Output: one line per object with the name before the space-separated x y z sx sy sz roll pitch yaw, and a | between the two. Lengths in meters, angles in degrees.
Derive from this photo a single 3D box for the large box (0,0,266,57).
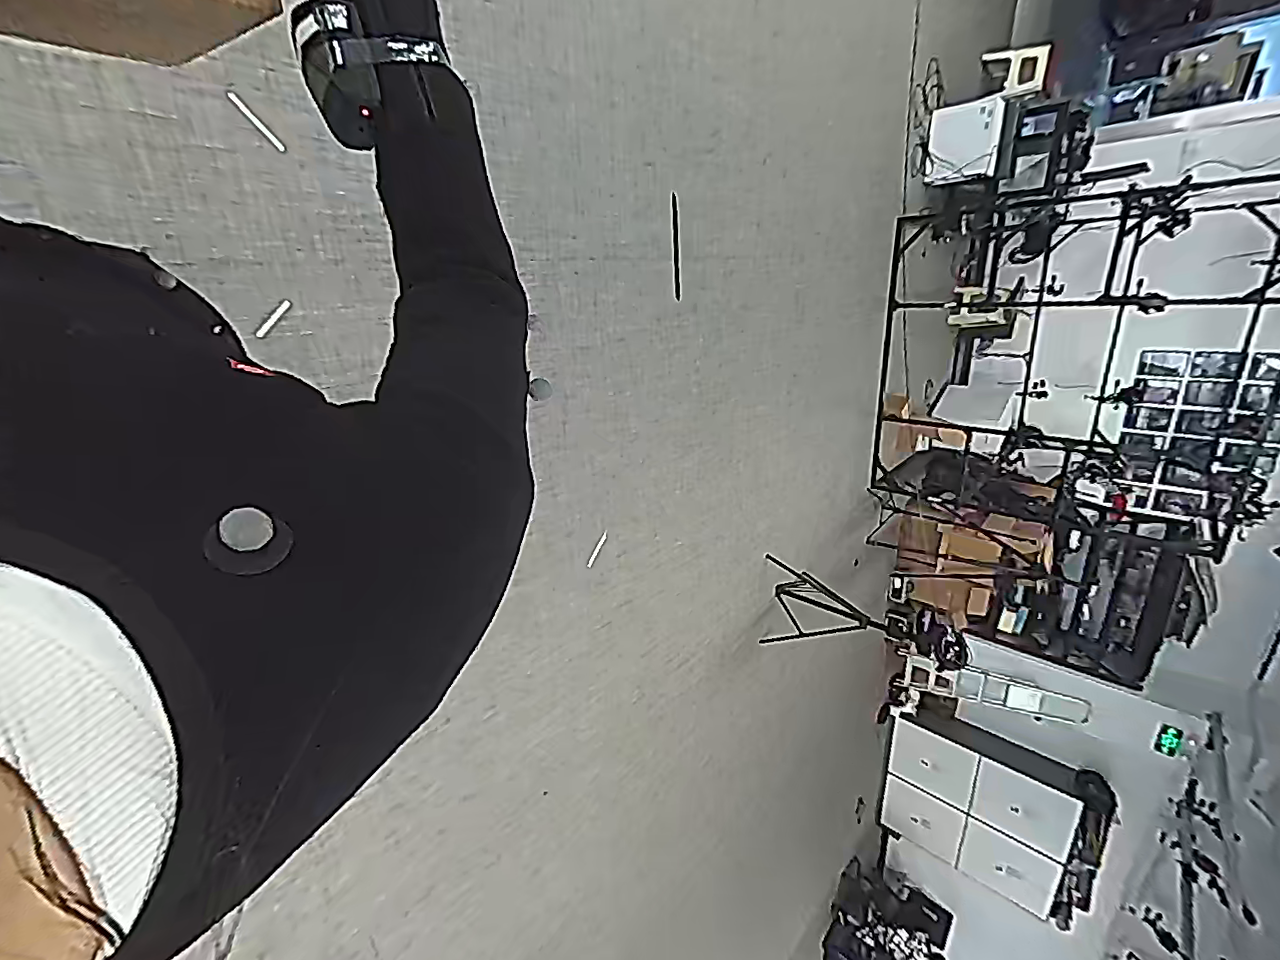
large box | -0.466 -0.429 0.231 0.408 0.320 0.320 -22 128 -42
